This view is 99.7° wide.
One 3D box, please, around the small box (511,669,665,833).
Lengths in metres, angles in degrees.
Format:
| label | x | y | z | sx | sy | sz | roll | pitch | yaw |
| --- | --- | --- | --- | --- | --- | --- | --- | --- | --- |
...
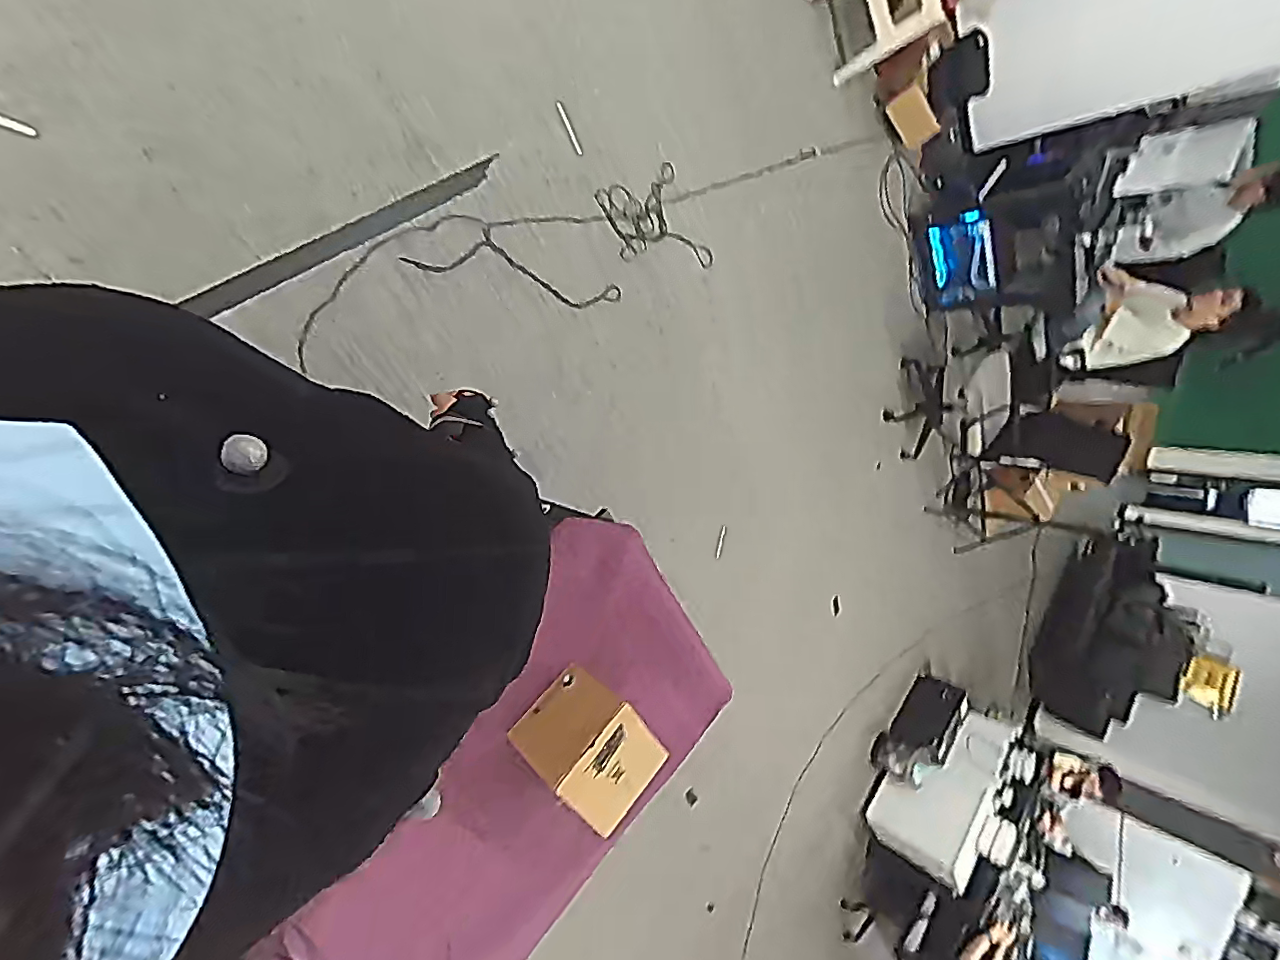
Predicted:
| label | x | y | z | sx | sy | sz | roll | pitch | yaw |
| --- | --- | --- | --- | --- | --- | --- | --- | --- | --- |
| small box | -0.094 | 0.459 | 0.947 | 0.168 | 0.176 | 0.179 | -44 | 124 | -24 |
